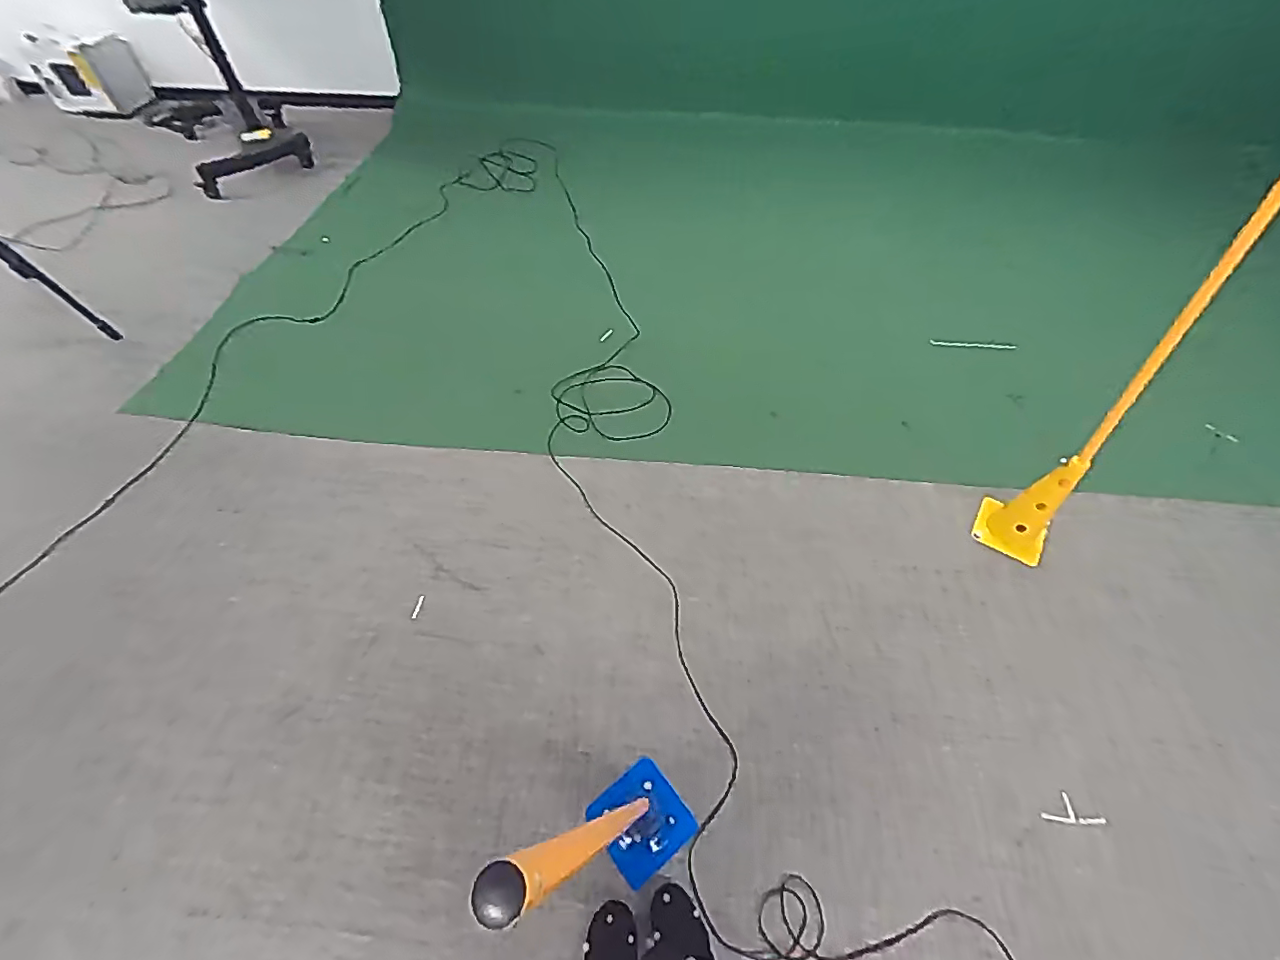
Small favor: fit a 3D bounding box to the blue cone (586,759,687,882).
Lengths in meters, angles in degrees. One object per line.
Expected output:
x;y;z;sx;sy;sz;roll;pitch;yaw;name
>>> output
-0.006;0.682;1.106;0.193;0.380;0.192;-35;62;-22;blue cone
